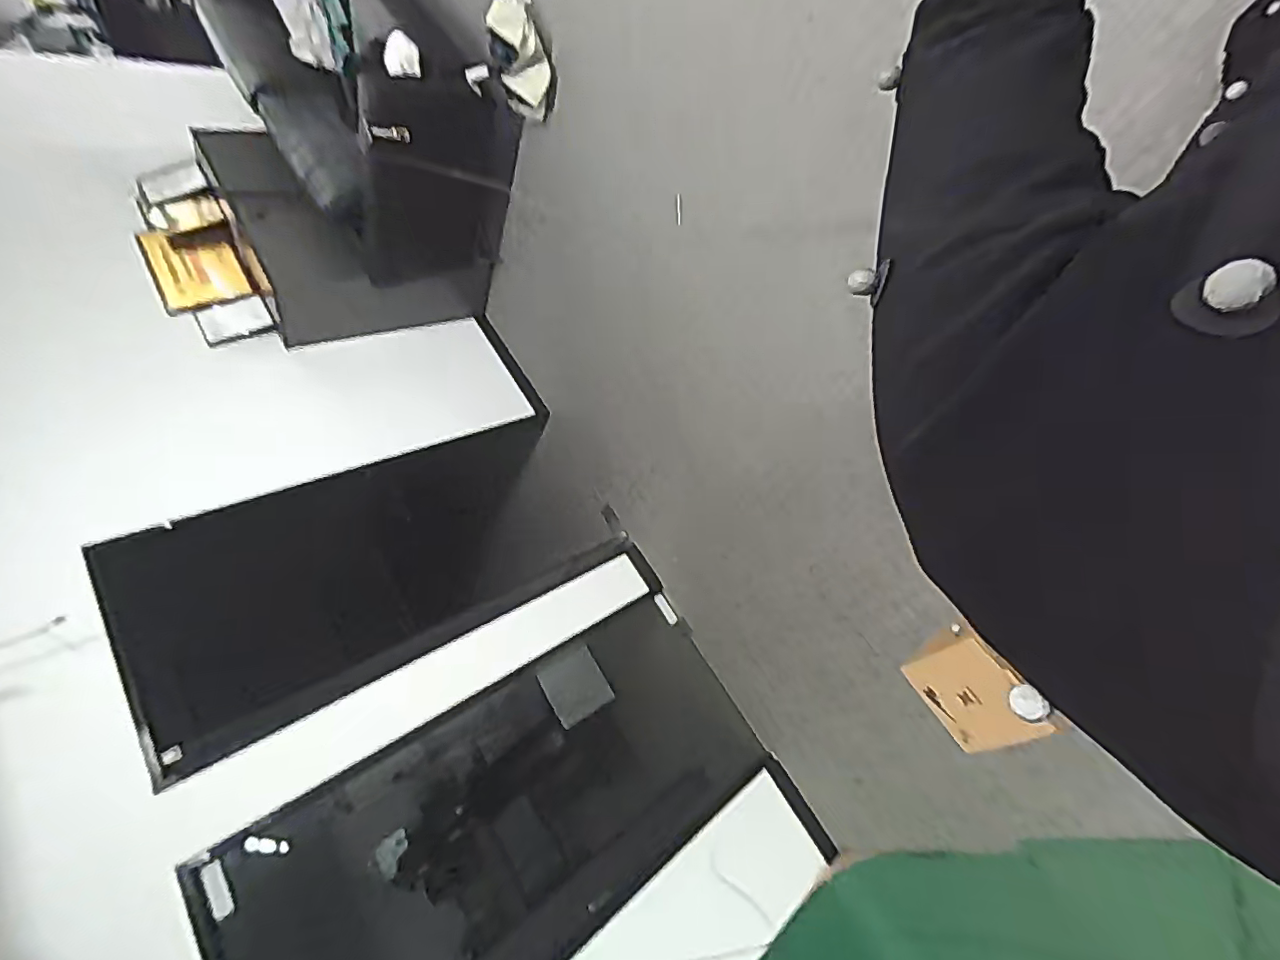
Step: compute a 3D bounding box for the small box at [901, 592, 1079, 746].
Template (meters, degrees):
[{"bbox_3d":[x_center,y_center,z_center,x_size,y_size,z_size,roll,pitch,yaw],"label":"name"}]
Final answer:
[{"bbox_3d":[0.603,0.320,0.928,0.168,0.176,0.179,55,144,20],"label":"small box"}]
